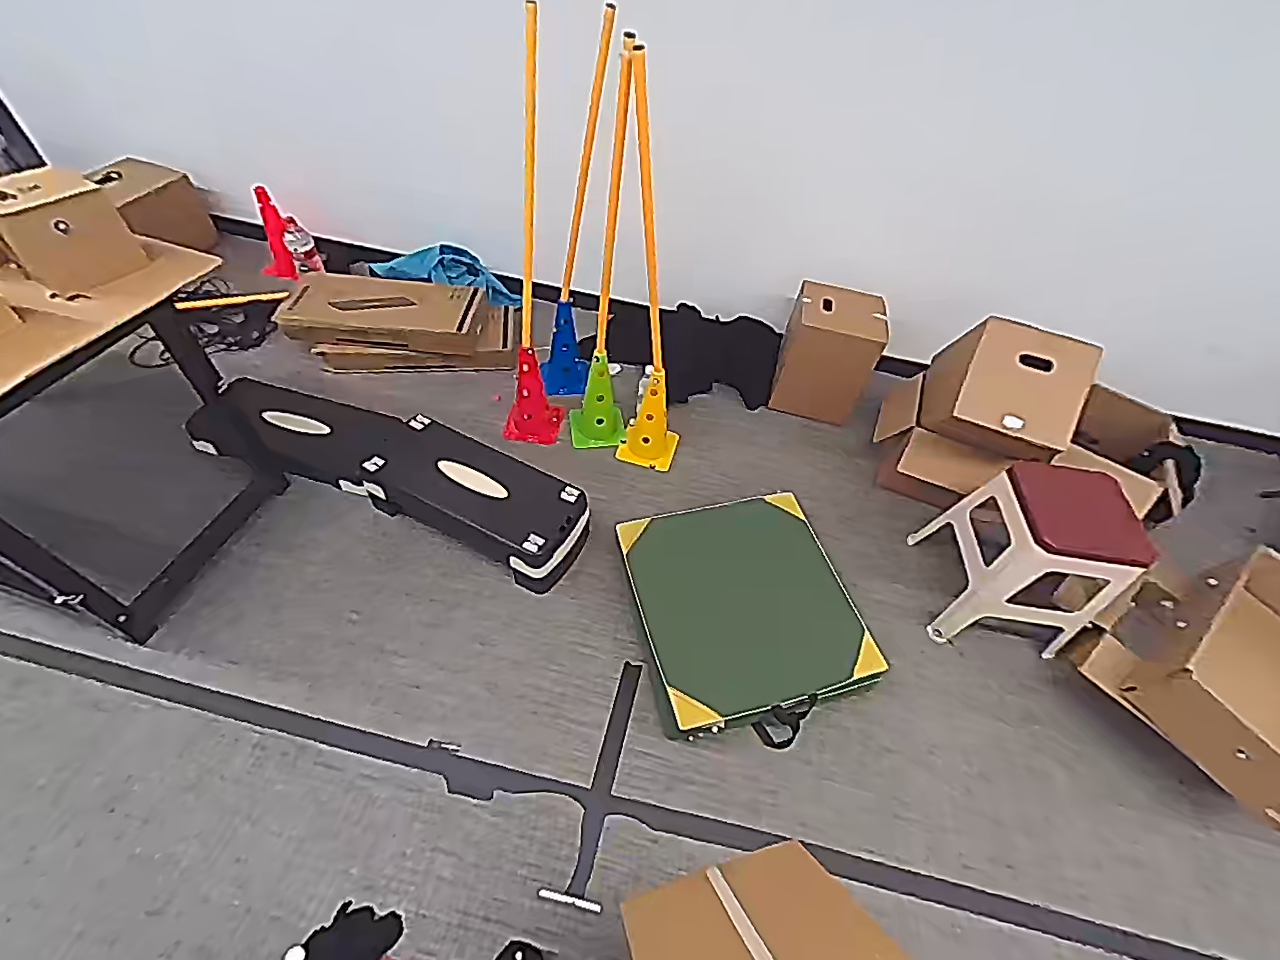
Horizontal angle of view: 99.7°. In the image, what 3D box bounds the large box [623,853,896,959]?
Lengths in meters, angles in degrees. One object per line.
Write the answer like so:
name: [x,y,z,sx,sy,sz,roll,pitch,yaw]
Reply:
large box: [0.187,0.771,0.672,0.320,0.408,0.320,-11,85,-13]
